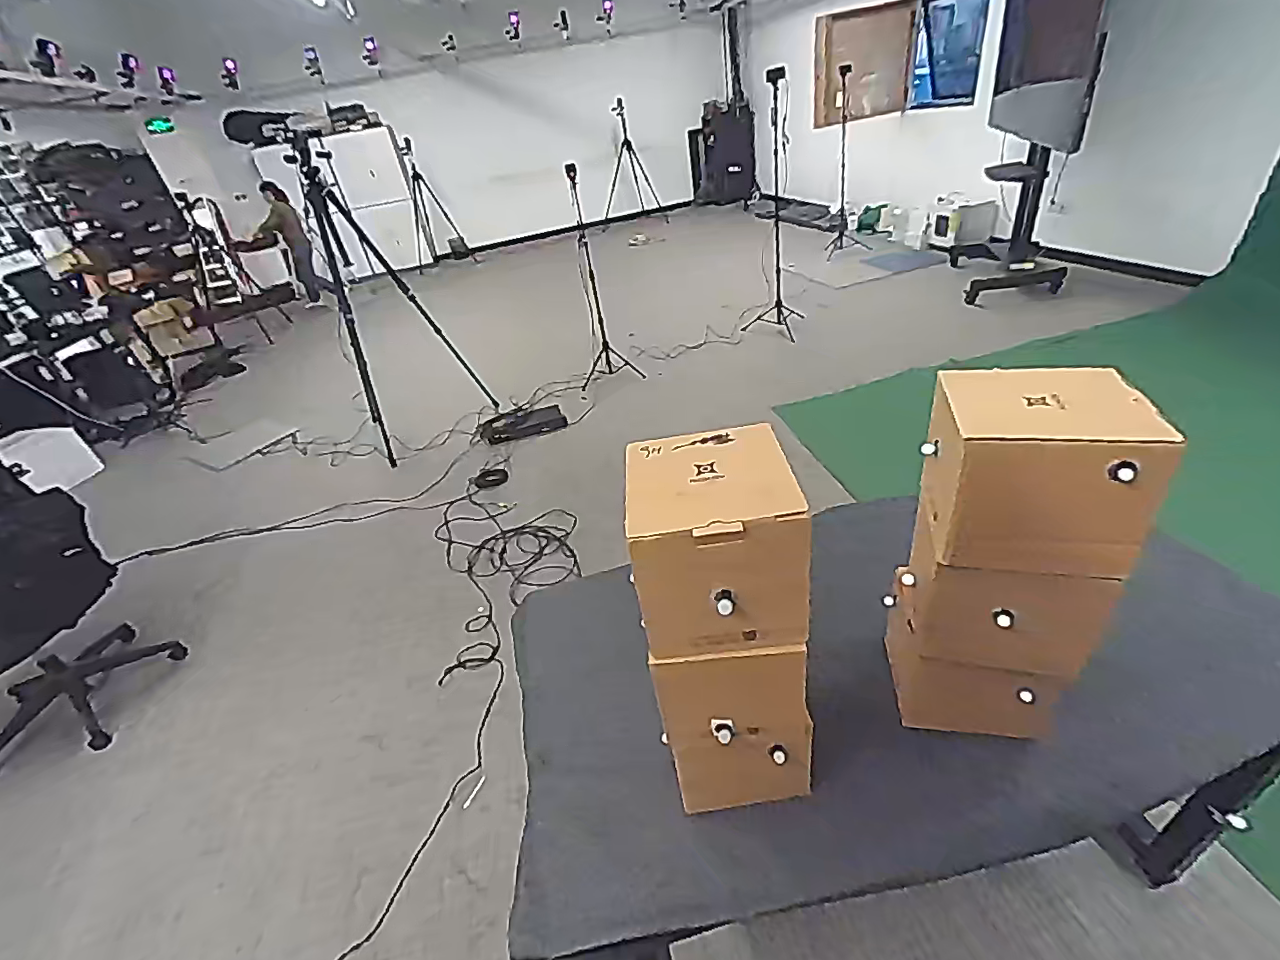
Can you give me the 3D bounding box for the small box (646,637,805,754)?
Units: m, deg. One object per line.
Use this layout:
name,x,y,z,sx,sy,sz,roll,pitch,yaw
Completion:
small box,0.101,0.207,0.669,0.168,0.176,0.179,-8,34,6

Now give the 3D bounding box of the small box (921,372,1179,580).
small box,0.420,-0.008,0.598,0.179,0.176,0.168,3,35,18

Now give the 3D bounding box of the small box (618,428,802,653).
small box,0.075,0.068,0.585,0.168,0.176,0.179,-8,34,5

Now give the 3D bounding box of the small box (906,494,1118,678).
small box,0.448,0.126,0.687,0.179,0.176,0.168,3,35,20

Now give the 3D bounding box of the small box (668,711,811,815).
small box,0.127,0.338,0.761,0.179,0.176,0.168,-10,33,1
